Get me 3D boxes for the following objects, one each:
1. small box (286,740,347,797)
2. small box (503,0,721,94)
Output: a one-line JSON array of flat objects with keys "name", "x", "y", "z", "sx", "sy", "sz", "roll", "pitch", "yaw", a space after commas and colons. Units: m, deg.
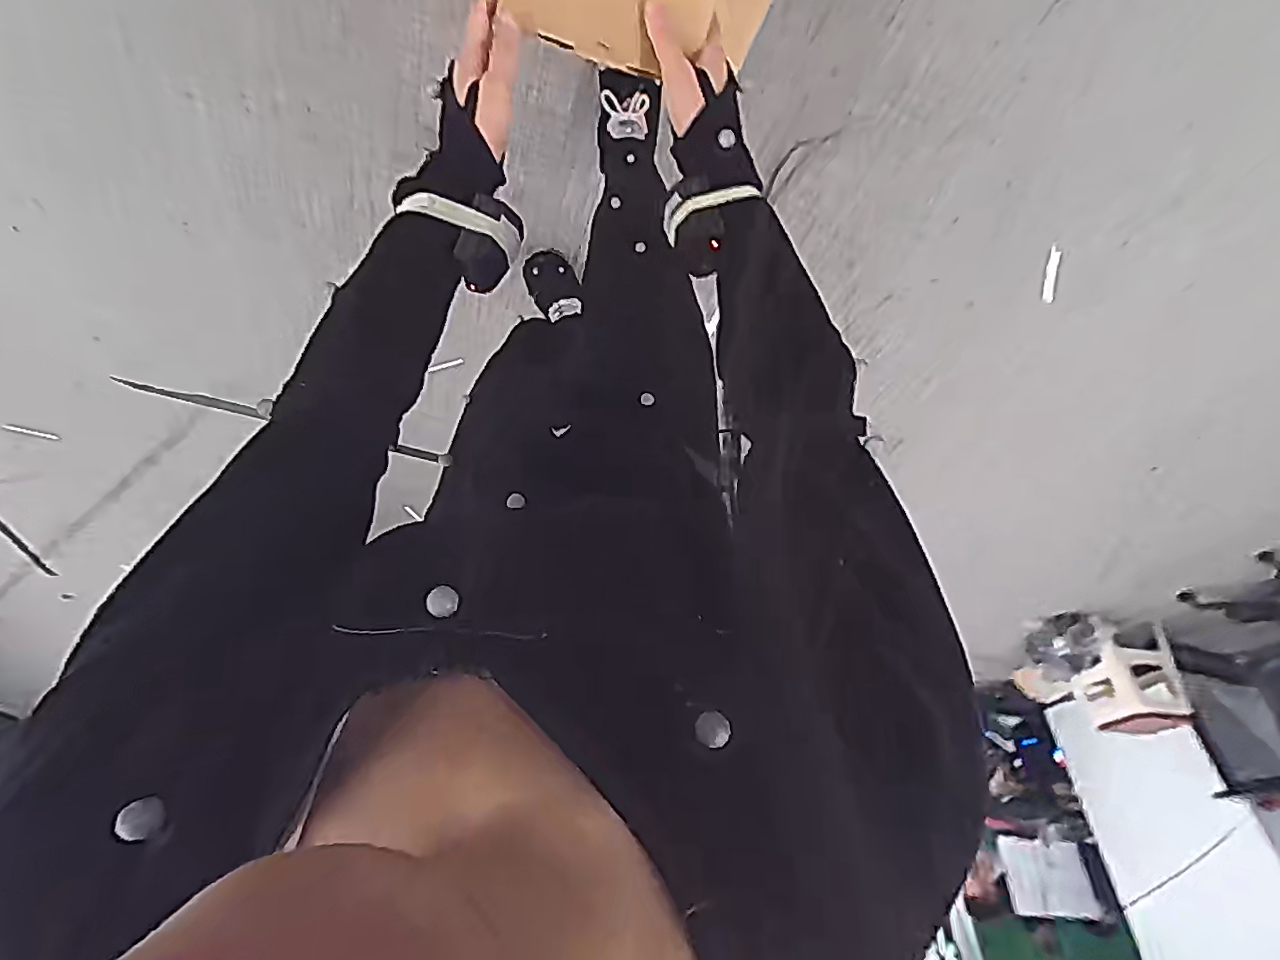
[{"name": "small box", "x": -1.303, "y": 1.172, "z": 2.191, "sx": 0.168, "sy": 0.176, "sz": 0.179, "roll": 14, "pitch": 139, "yaw": -16}, {"name": "small box", "x": -0.023, "y": -0.457, "z": 0.444, "sx": 0.168, "sy": 0.176, "sz": 0.179, "roll": 4, "pitch": 132, "yaw": -19}]
